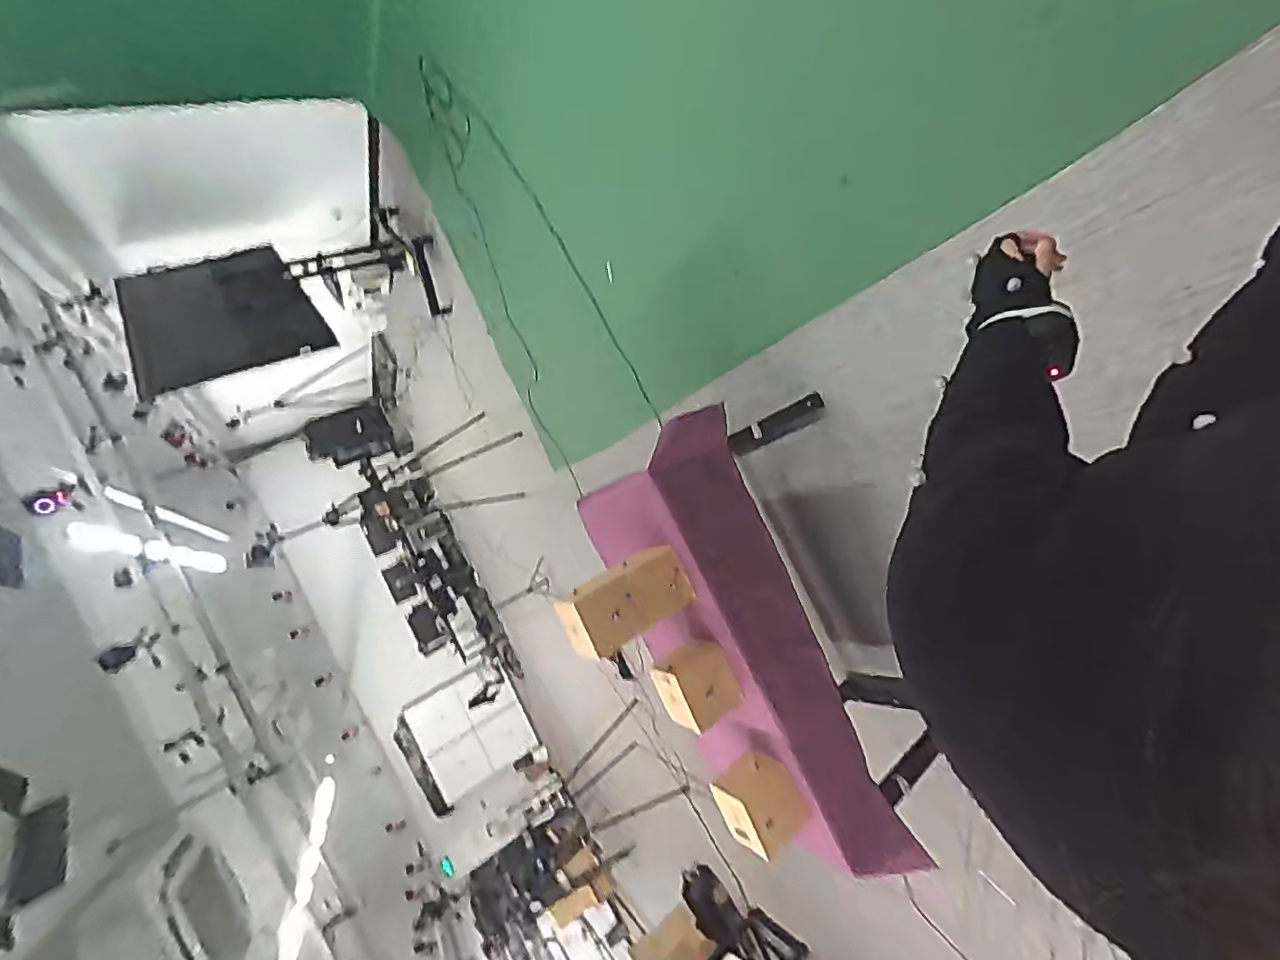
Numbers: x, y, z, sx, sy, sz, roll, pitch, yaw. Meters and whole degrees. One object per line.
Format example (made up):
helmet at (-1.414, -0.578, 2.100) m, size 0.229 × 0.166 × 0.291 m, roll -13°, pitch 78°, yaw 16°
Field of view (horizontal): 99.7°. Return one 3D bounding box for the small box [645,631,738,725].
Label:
small box at (0.150, 0.559, 1.550) m, size 0.168 × 0.176 × 0.179 m, roll -19°, pitch 97°, yaw 61°

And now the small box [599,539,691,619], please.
small box at (0.015, 0.278, 1.549) m, size 0.179 × 0.176 × 0.168 m, roll -17°, pitch 98°, yaw 61°

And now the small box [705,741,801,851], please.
small box at (0.322, 0.881, 1.525) m, size 0.168 × 0.176 × 0.179 m, roll -20°, pitch 94°, yaw 62°

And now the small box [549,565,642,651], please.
small box at (-0.116, 0.341, 1.469) m, size 0.179 × 0.176 × 0.168 m, roll -20°, pitch 95°, yaw 61°
